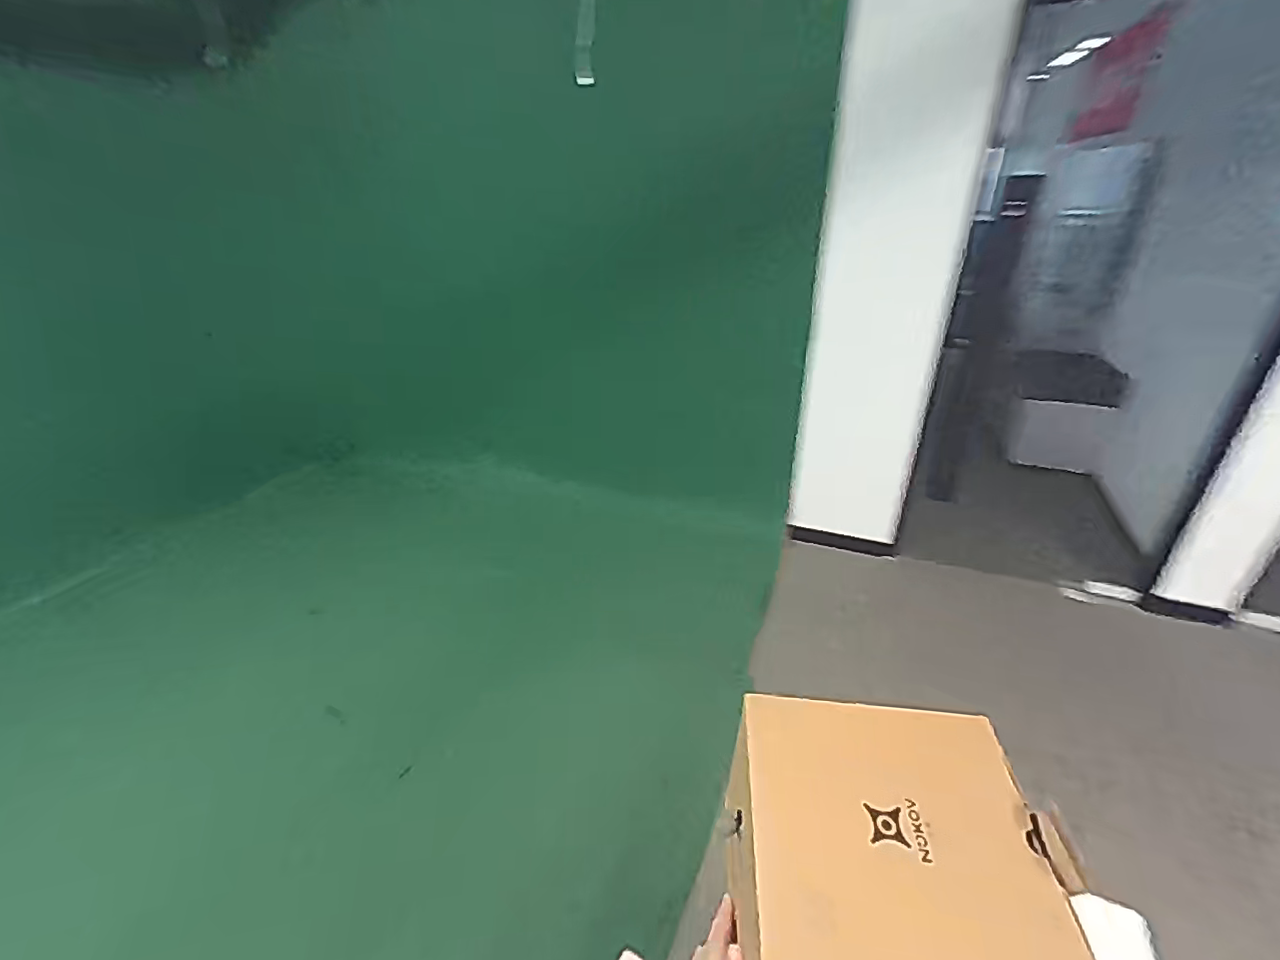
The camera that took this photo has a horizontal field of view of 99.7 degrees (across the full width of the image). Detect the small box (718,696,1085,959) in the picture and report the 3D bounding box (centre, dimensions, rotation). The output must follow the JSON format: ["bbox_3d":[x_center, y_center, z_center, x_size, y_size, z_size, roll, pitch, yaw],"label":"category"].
[{"bbox_3d":[0.147,0.276,0.375,0.179,0.176,0.168,3,35,3],"label":"small box"}]
